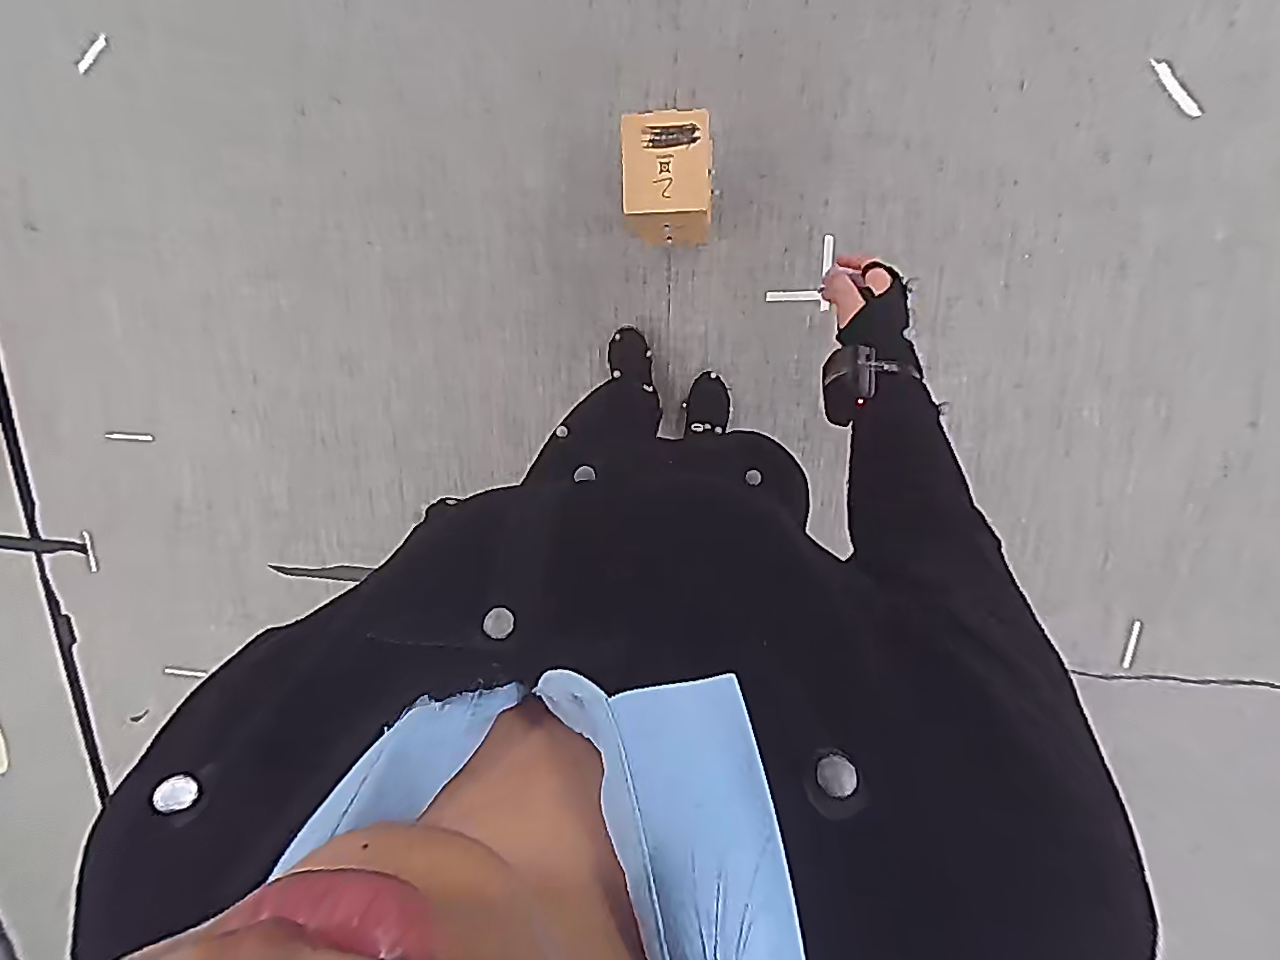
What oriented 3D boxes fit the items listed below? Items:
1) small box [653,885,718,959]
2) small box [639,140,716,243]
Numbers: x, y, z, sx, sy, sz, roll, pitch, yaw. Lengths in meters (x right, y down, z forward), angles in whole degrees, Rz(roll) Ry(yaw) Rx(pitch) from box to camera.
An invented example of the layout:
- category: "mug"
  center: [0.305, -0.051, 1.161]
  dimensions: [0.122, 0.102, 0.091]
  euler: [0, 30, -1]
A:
- category: "small box"
  center: [0.124, 1.278, 1.495]
  dimensions: [0.168, 0.176, 0.179]
  euler: [5, 103, 4]
- category: "small box"
  center: [0.087, -0.659, 1.252]
  dimensions: [0.168, 0.176, 0.179]
  euler: [1, 103, 6]
